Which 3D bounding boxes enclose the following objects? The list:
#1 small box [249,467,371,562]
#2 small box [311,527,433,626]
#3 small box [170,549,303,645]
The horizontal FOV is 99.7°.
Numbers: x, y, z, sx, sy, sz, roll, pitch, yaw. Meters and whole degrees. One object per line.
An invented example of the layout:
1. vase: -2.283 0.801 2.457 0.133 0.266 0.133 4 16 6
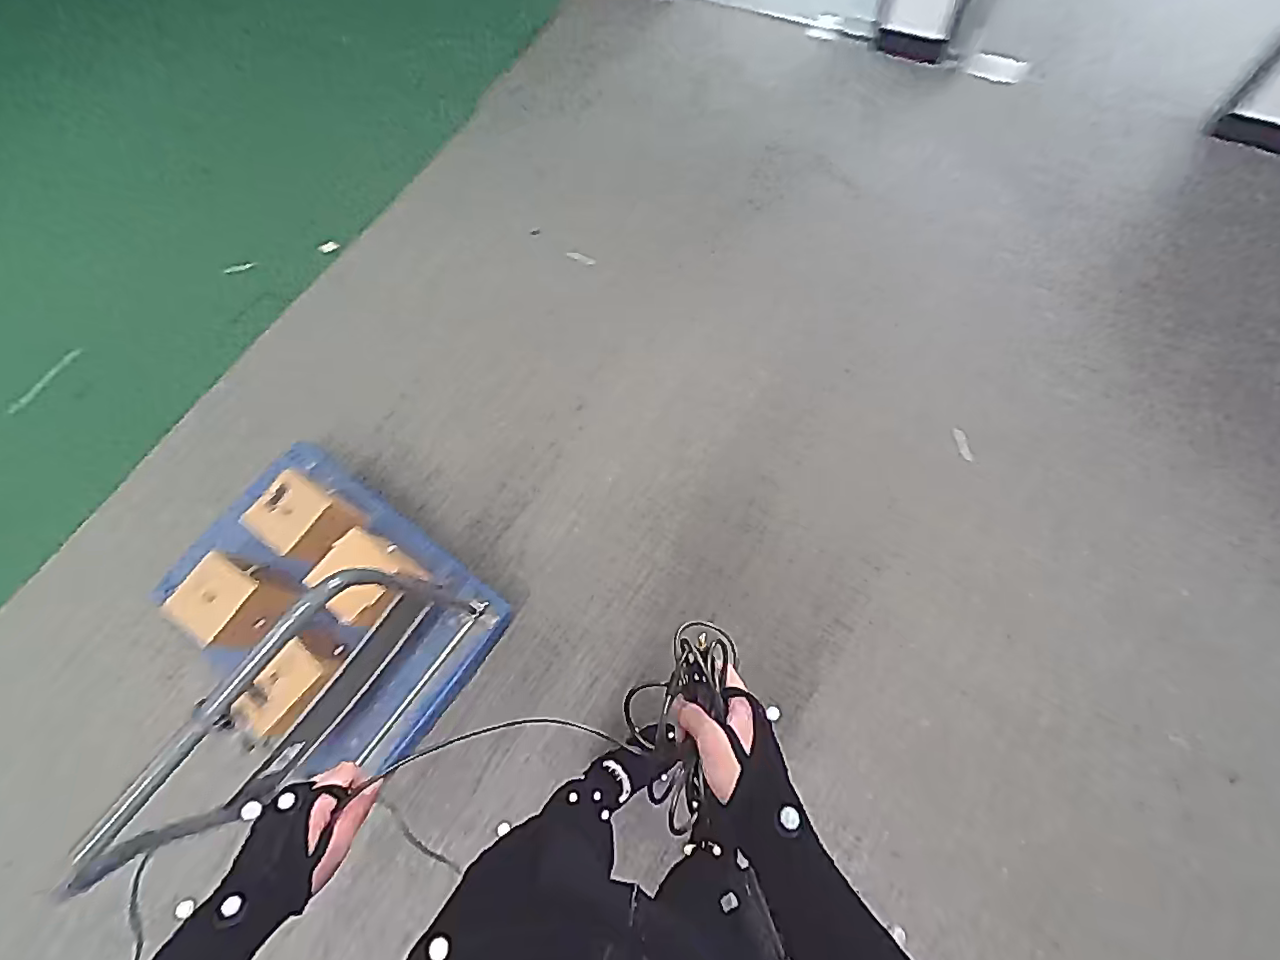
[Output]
1. small box: -0.862 0.100 1.428 0.179 0.176 0.168 32 77 16
2. small box: -0.660 0.248 1.351 0.179 0.176 0.168 35 77 17
3. small box: -1.009 0.302 1.370 0.179 0.176 0.168 30 75 16
